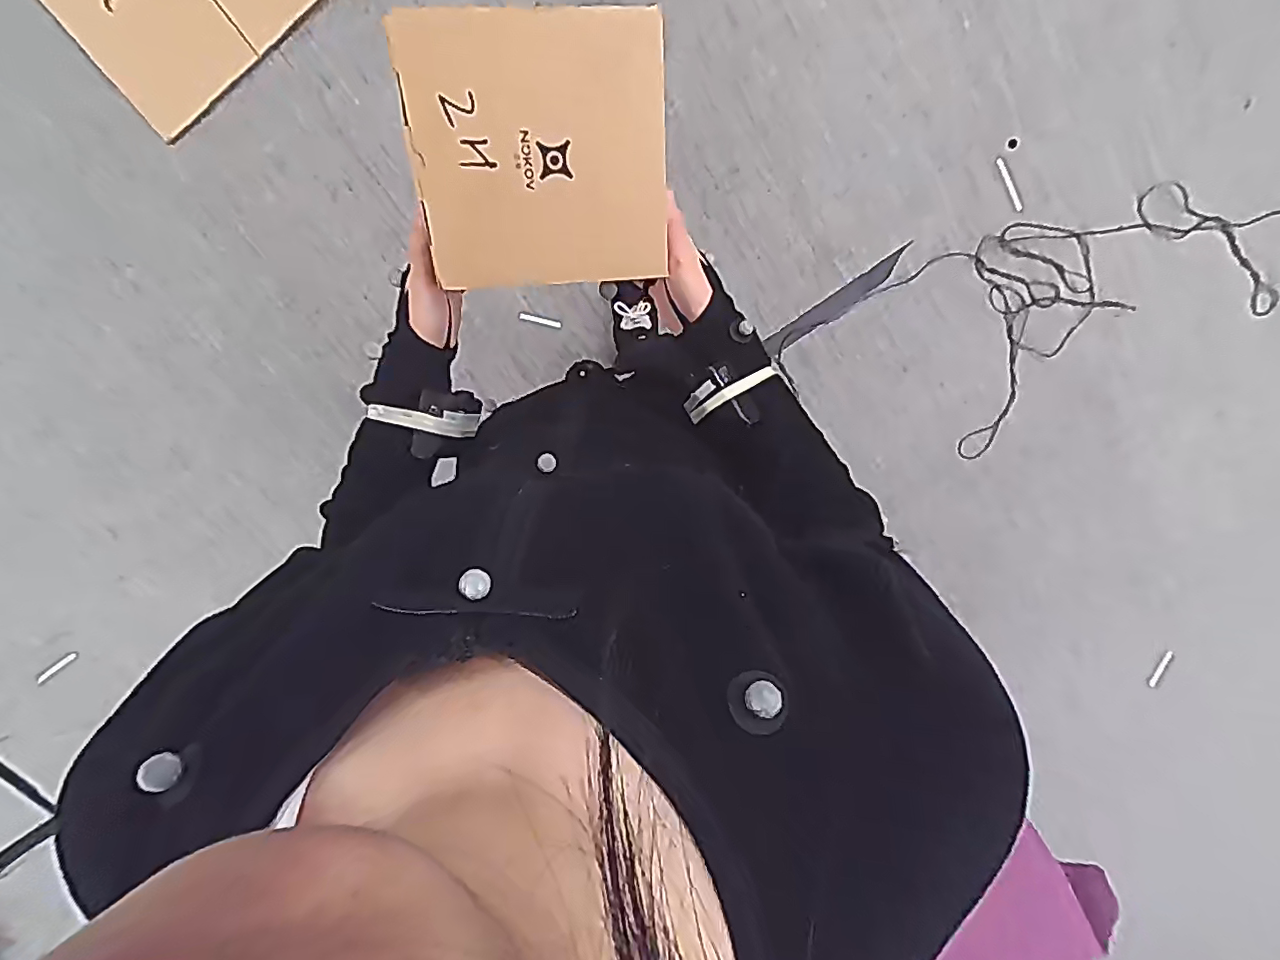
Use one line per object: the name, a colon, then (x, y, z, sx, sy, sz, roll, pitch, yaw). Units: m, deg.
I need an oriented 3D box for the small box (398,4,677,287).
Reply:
small box: (-0.072, -0.257, 0.443, 0.179, 0.176, 0.168, -5, 116, -6)
